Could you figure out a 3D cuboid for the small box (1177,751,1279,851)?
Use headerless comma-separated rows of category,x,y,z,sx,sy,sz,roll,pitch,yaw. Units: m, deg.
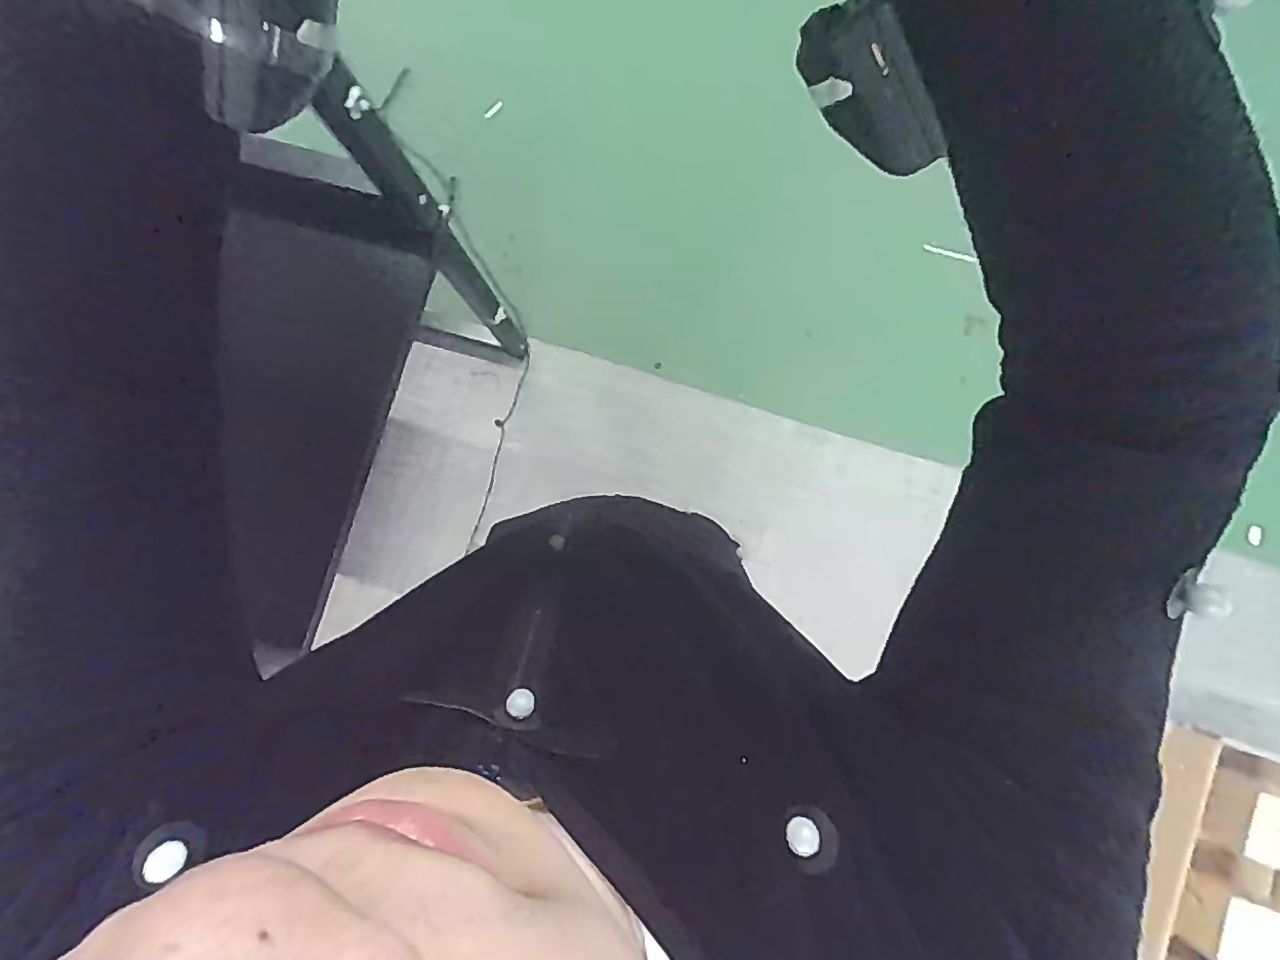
small box,1.619,0.859,1.453,0.179,0.176,0.168,19,87,2

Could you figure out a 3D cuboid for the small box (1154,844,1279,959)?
small box,1.536,1.113,1.436,0.179,0.176,0.168,17,85,2
